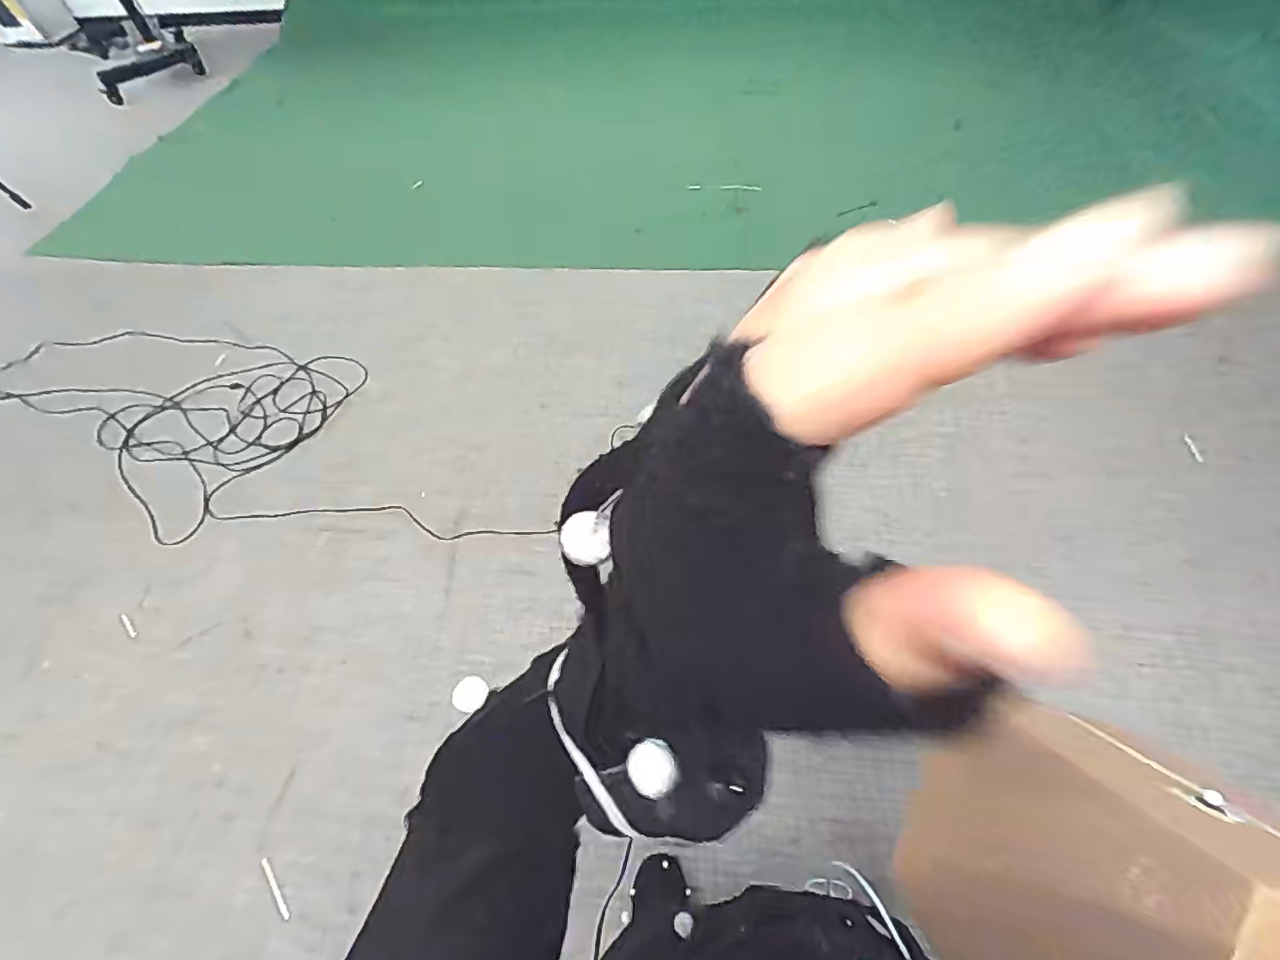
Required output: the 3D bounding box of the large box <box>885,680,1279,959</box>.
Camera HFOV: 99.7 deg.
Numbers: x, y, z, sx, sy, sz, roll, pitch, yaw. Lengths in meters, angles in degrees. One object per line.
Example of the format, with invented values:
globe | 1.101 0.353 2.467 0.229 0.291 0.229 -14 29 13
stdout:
large box | 0.554 0.491 0.609 0.320 0.408 0.320 18 92 -2
